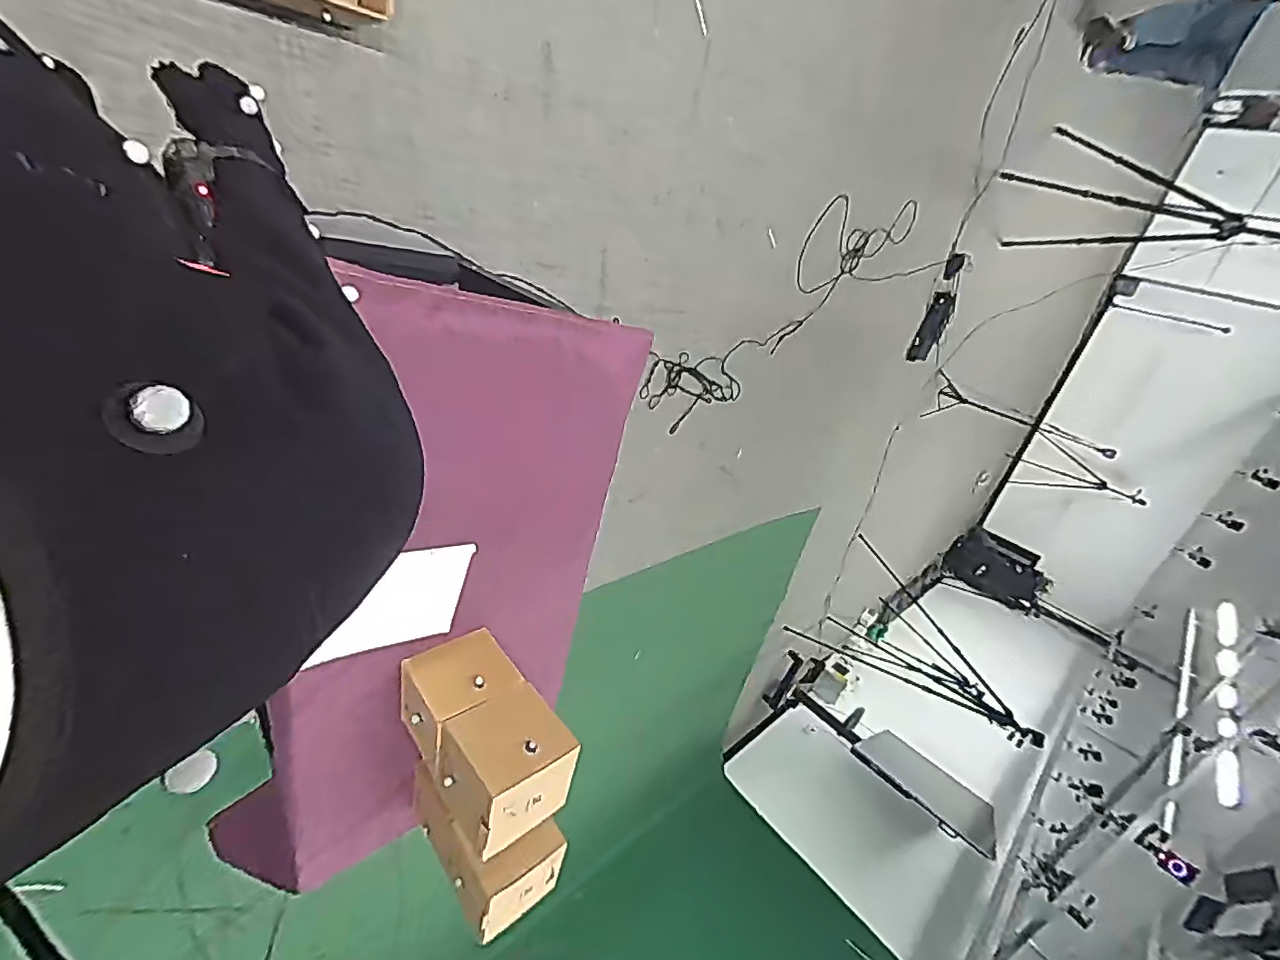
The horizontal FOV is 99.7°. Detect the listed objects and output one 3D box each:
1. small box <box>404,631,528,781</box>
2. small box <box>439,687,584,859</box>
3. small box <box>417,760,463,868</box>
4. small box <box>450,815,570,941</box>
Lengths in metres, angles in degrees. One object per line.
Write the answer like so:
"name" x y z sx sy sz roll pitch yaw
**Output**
"small box" -0.344 0.429 1.054 0.179 0.176 0.168 -15 127 -42
"small box" -0.231 0.505 0.961 0.179 0.176 0.168 -11 124 -44
"small box" -0.383 0.704 1.216 0.179 0.176 0.168 -11 125 -44
"small box" -0.274 0.773 1.114 0.179 0.176 0.168 -10 125 -43
